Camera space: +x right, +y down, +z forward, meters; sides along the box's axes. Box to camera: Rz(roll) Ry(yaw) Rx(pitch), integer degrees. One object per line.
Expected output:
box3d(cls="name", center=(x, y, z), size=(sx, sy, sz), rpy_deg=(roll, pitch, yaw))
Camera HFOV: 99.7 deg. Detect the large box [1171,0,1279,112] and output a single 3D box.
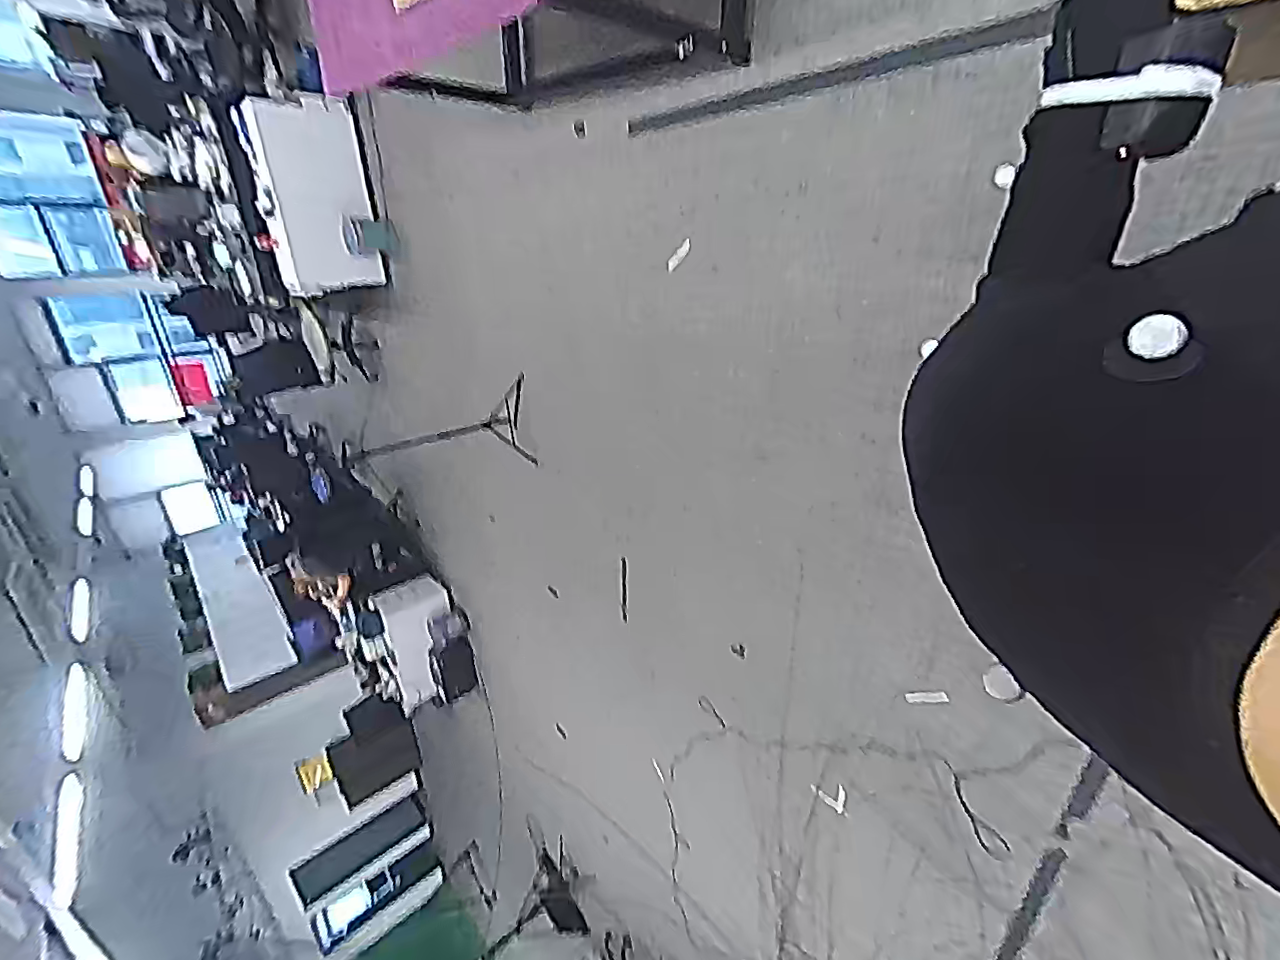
box3d(cls="large box", center=(0.567, -0.395, 0.242), size=(0.408, 0.320, 0.320), rpy_deg=(22, 124, 39))
